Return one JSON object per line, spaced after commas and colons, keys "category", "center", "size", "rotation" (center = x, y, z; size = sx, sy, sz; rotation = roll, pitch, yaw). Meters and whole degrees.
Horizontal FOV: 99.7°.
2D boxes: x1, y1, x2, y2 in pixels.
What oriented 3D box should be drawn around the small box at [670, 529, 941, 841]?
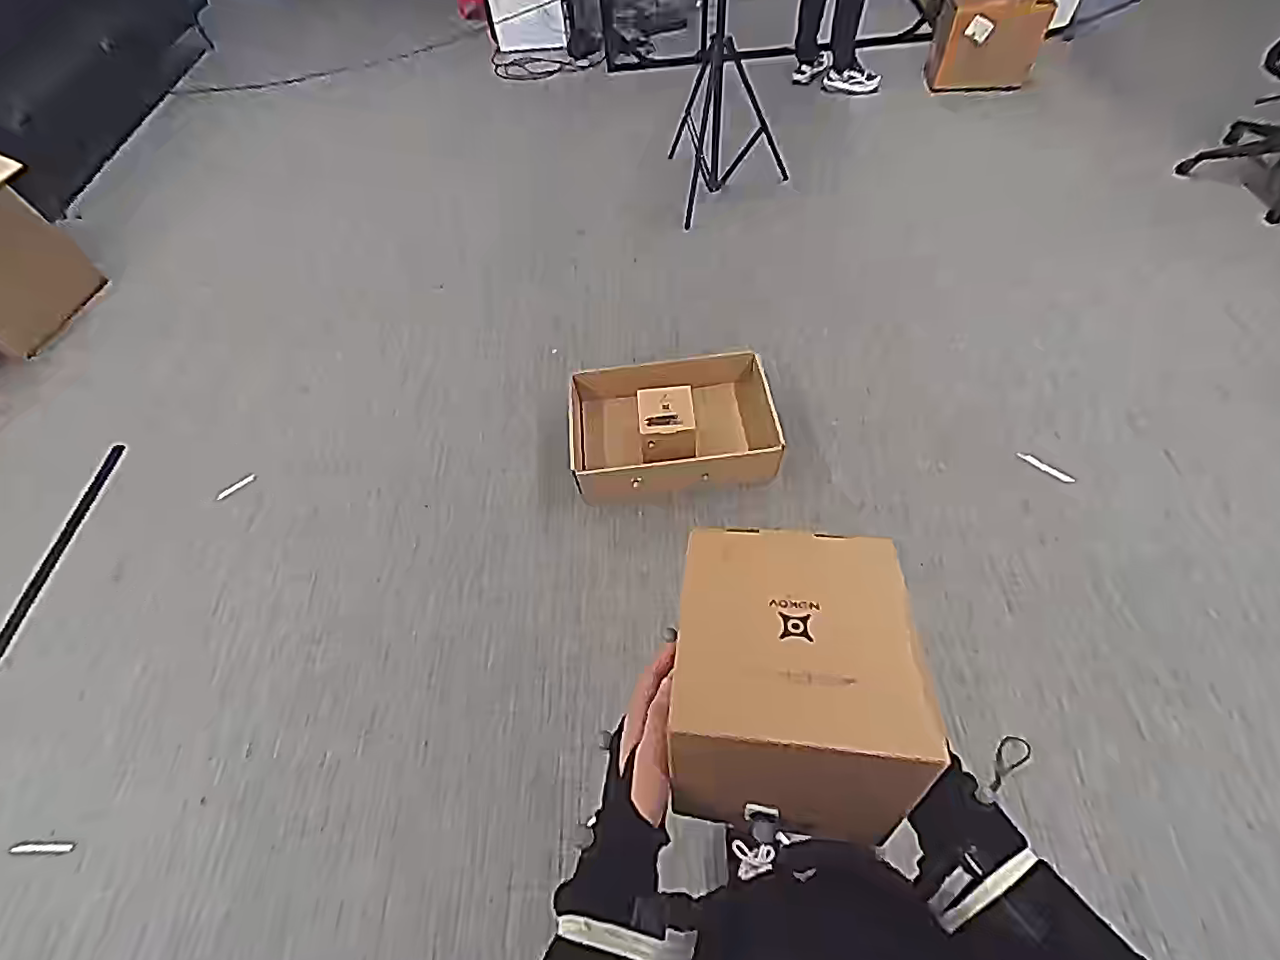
{"category": "small box", "center": [0.114, 0.163, 0.444], "size": [0.168, 0.176, 0.179], "rotation": [2, 43, 8]}
